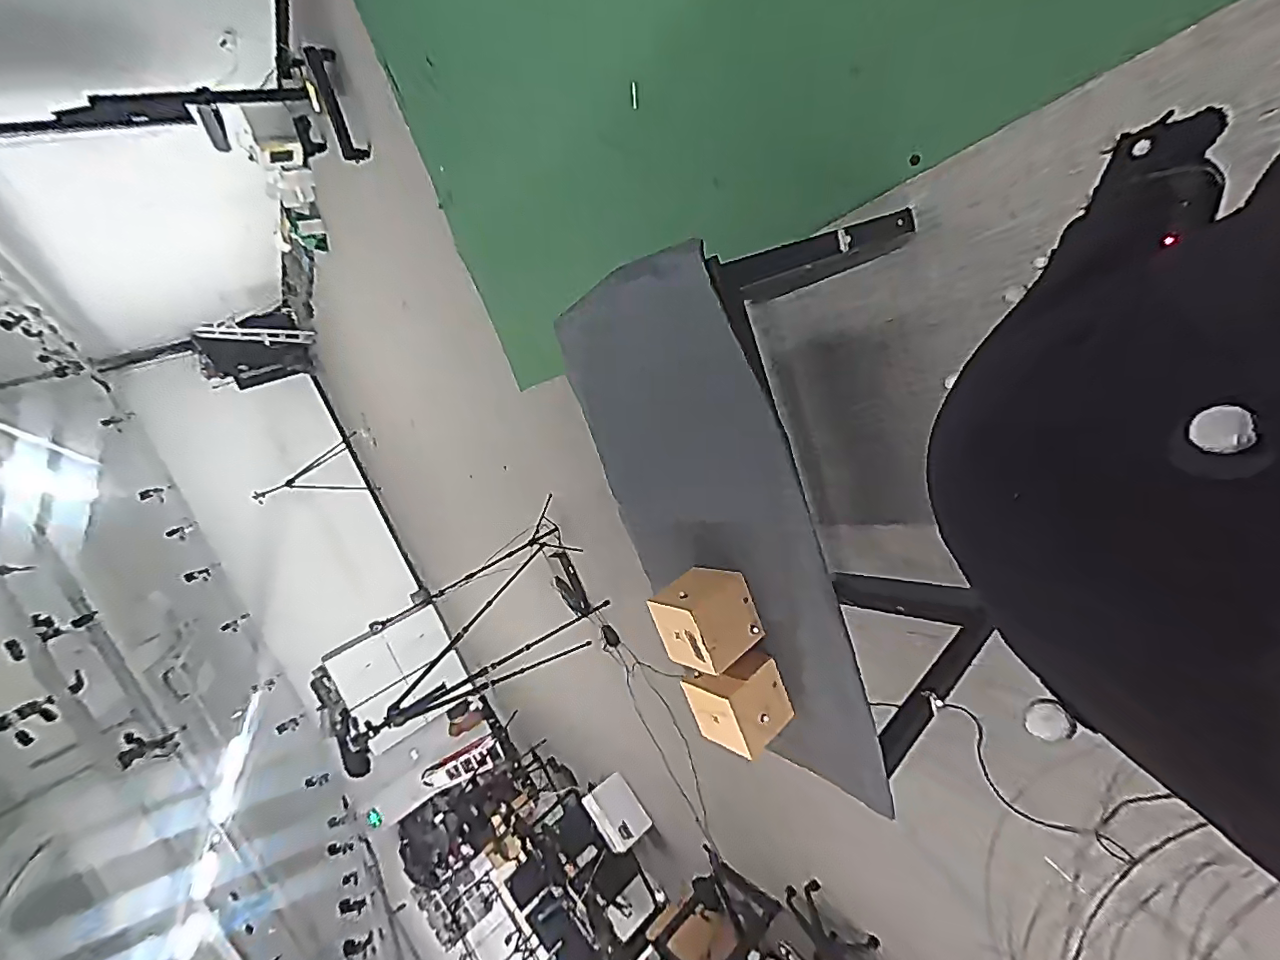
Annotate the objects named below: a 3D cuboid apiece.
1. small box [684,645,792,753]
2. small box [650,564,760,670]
[{"bbox_3d":[0.244,0.515,1.312,0.179,0.176,0.168,-6,109,57],"label":"small box"},{"bbox_3d":[0.160,0.312,1.271,0.179,0.176,0.168,-6,109,57],"label":"small box"}]
